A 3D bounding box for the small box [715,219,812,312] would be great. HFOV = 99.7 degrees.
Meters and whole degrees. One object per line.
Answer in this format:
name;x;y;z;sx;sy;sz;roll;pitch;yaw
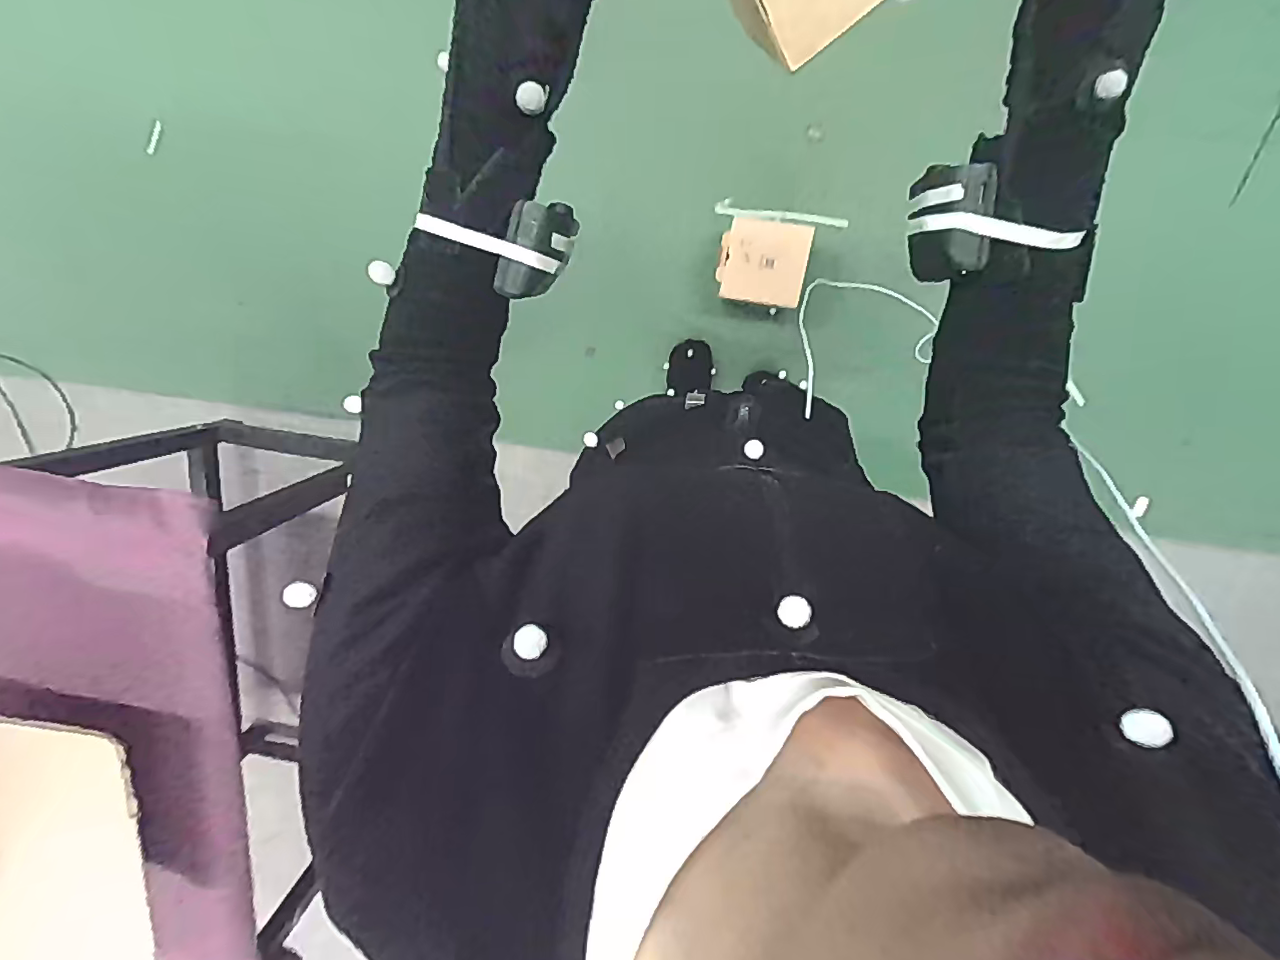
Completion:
small box;0.274;-0.484;1.241;0.179;0.176;0.168;10;106;3
